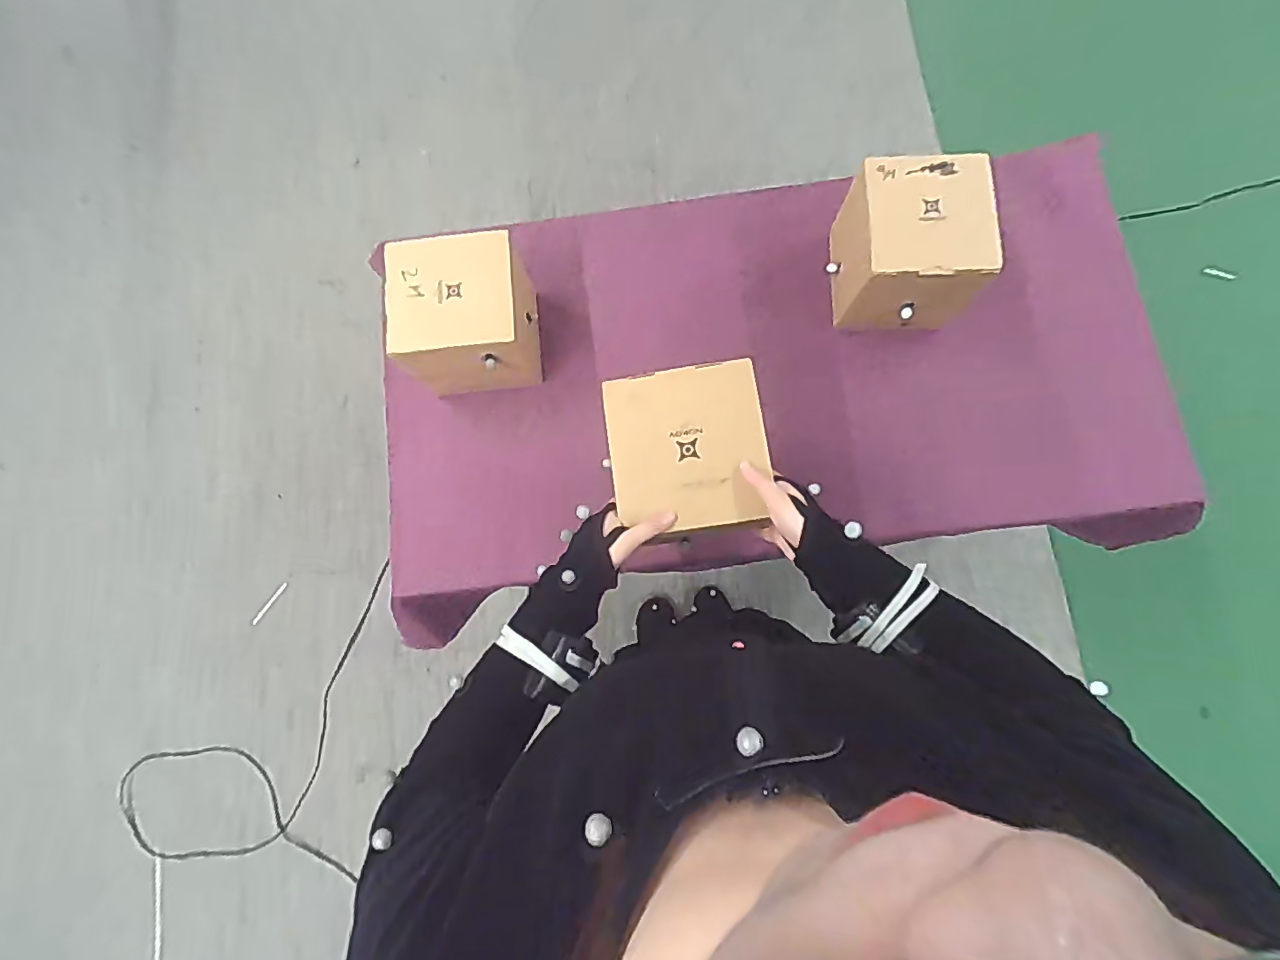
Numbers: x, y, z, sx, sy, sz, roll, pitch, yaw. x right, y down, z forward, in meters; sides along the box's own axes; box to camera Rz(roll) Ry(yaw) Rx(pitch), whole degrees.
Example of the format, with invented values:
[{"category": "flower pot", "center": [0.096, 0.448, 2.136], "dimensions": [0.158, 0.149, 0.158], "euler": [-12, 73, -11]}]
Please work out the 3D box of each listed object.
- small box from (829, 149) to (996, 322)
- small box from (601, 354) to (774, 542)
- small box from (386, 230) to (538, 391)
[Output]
[{"category": "small box", "center": [0.382, -0.342, 0.788], "dimensions": [0.168, 0.176, 0.179], "euler": [0, 80, 3]}, {"category": "small box", "center": [0.053, -0.027, 0.643], "dimensions": [0.168, 0.176, 0.179], "euler": [-8, 79, 5]}, {"category": "small box", "center": [-0.255, -0.242, 0.808], "dimensions": [0.179, 0.176, 0.168], "euler": [-6, 79, 2]}]
